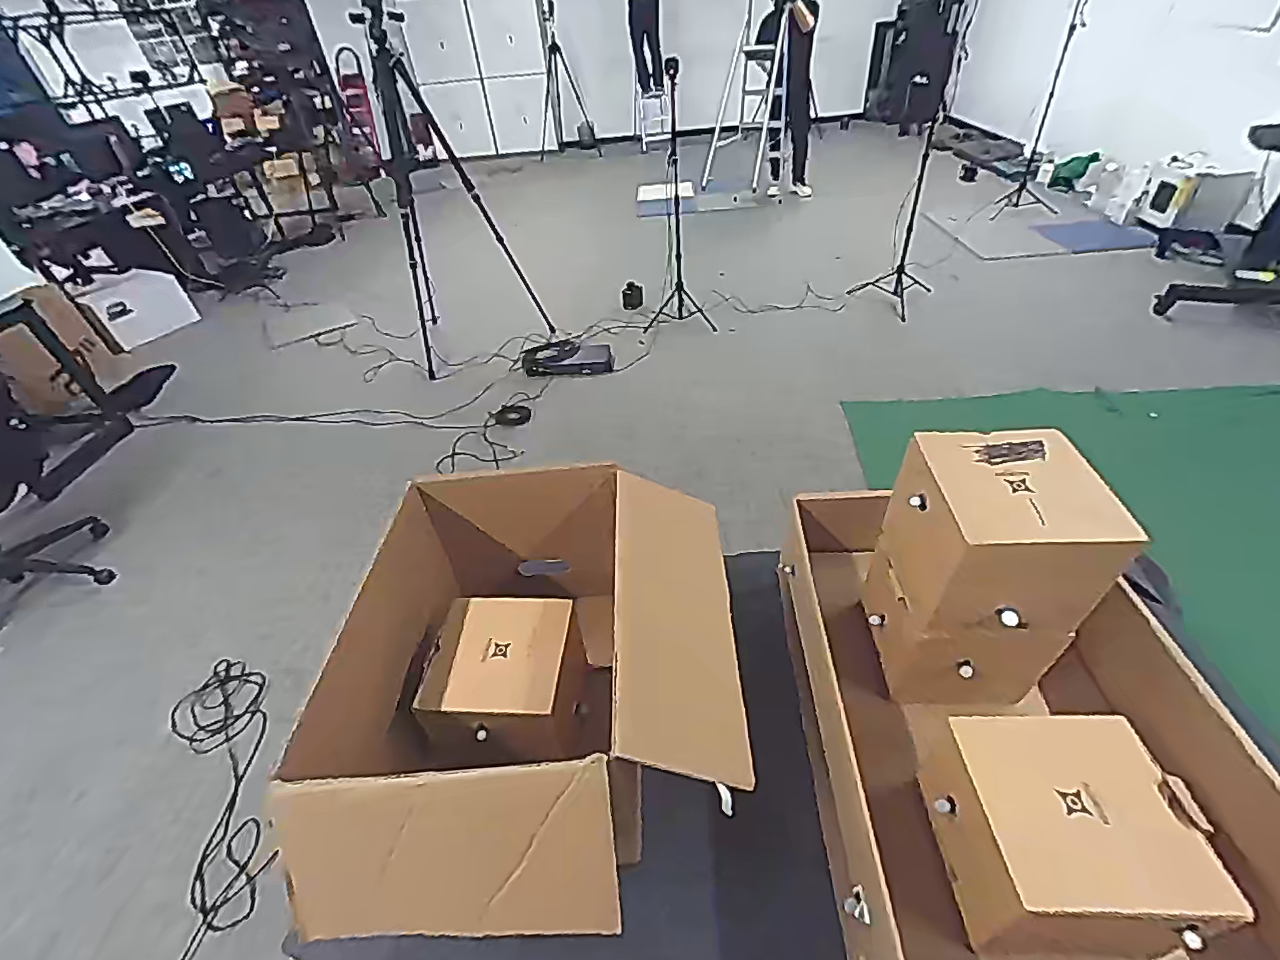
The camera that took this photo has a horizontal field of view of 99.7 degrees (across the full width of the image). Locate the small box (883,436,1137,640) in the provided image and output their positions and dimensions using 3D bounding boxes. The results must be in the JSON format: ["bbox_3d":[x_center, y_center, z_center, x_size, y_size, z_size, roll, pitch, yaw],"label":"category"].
[{"bbox_3d":[0.407,0.066,0.640,0.168,0.176,0.179,-1,44,5],"label":"small box"}]
